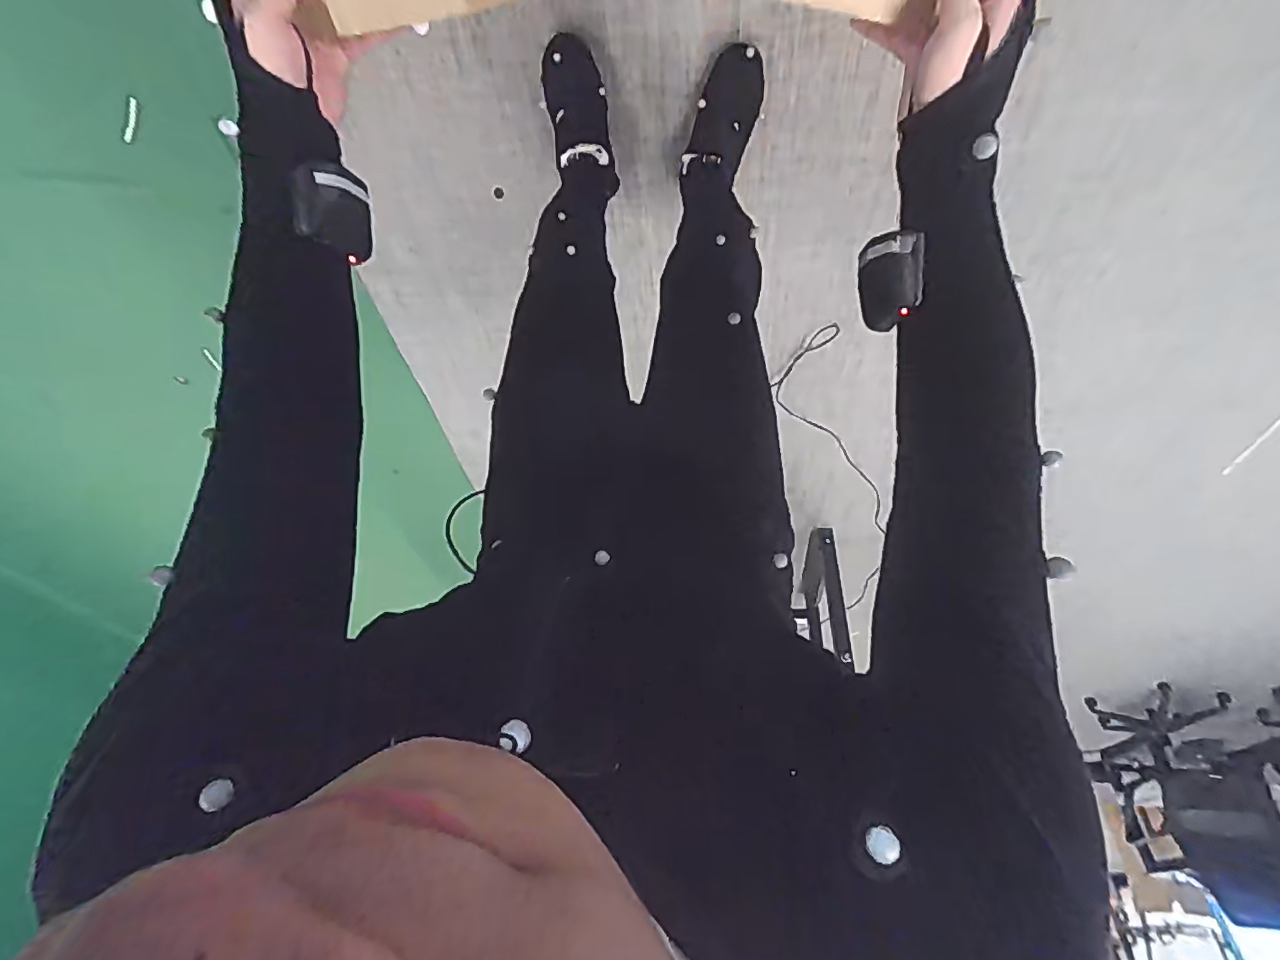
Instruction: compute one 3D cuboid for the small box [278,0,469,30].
[{"bbox_3d":[-0.180,-0.454,0.392,0.179,0.176,0.168,12,141,22],"label":"small box"}]
